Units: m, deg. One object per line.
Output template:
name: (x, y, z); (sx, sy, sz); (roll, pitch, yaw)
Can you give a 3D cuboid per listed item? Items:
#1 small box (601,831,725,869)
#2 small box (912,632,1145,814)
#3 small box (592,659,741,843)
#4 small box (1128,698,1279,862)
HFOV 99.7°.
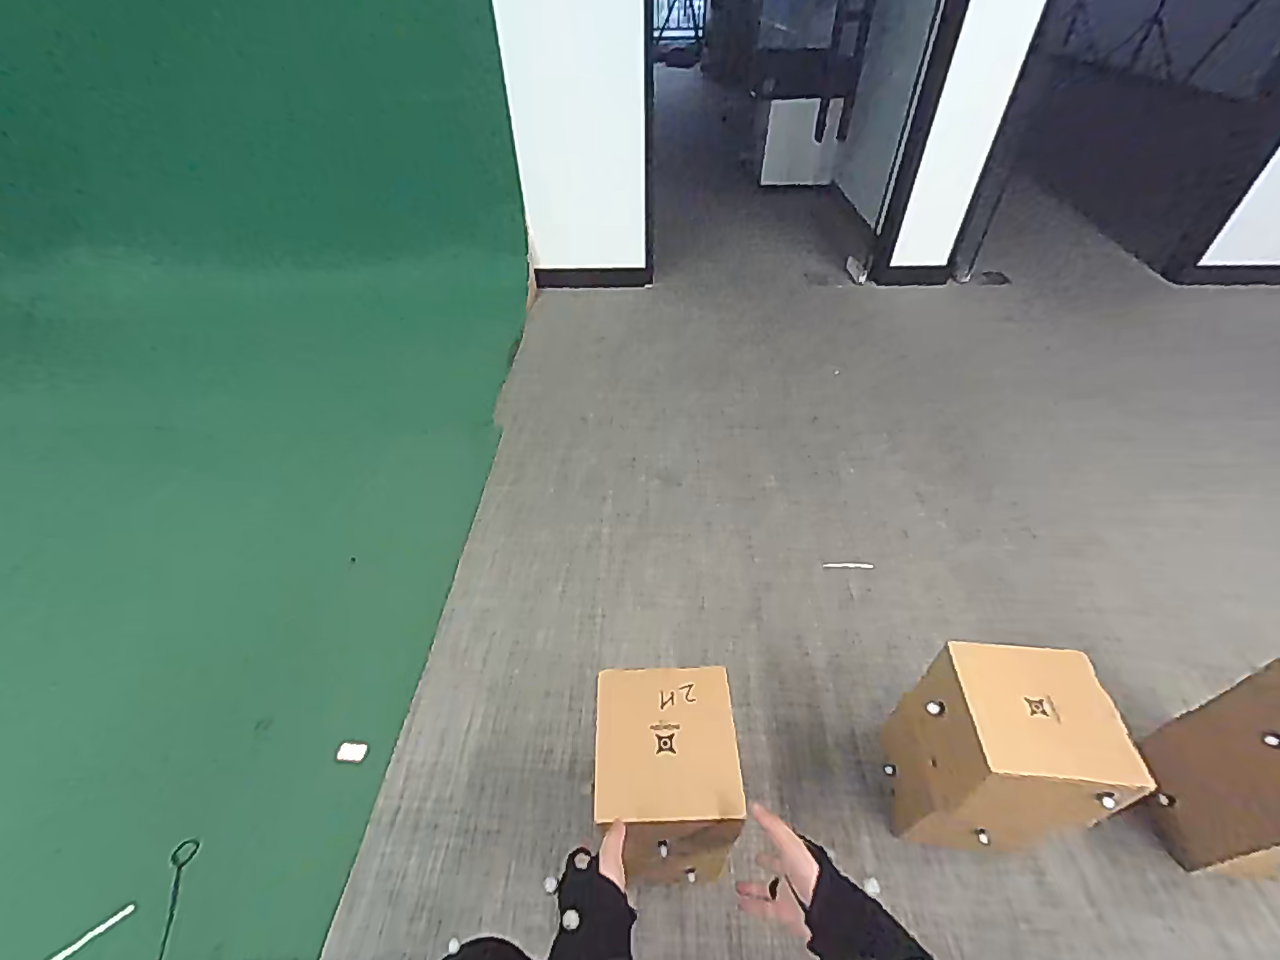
small box: (0.034, 0.467, 0.814); (0.168, 0.176, 0.179); (0, 44, 1)
small box: (0.482, 0.321, 0.714); (0.179, 0.176, 0.168); (3, 44, 5)
small box: (0.030, 0.352, 0.697); (0.168, 0.176, 0.179); (-1, 44, -1)
small box: (0.892, 0.448, 0.804); (0.168, 0.176, 0.179); (2, 45, 3)
